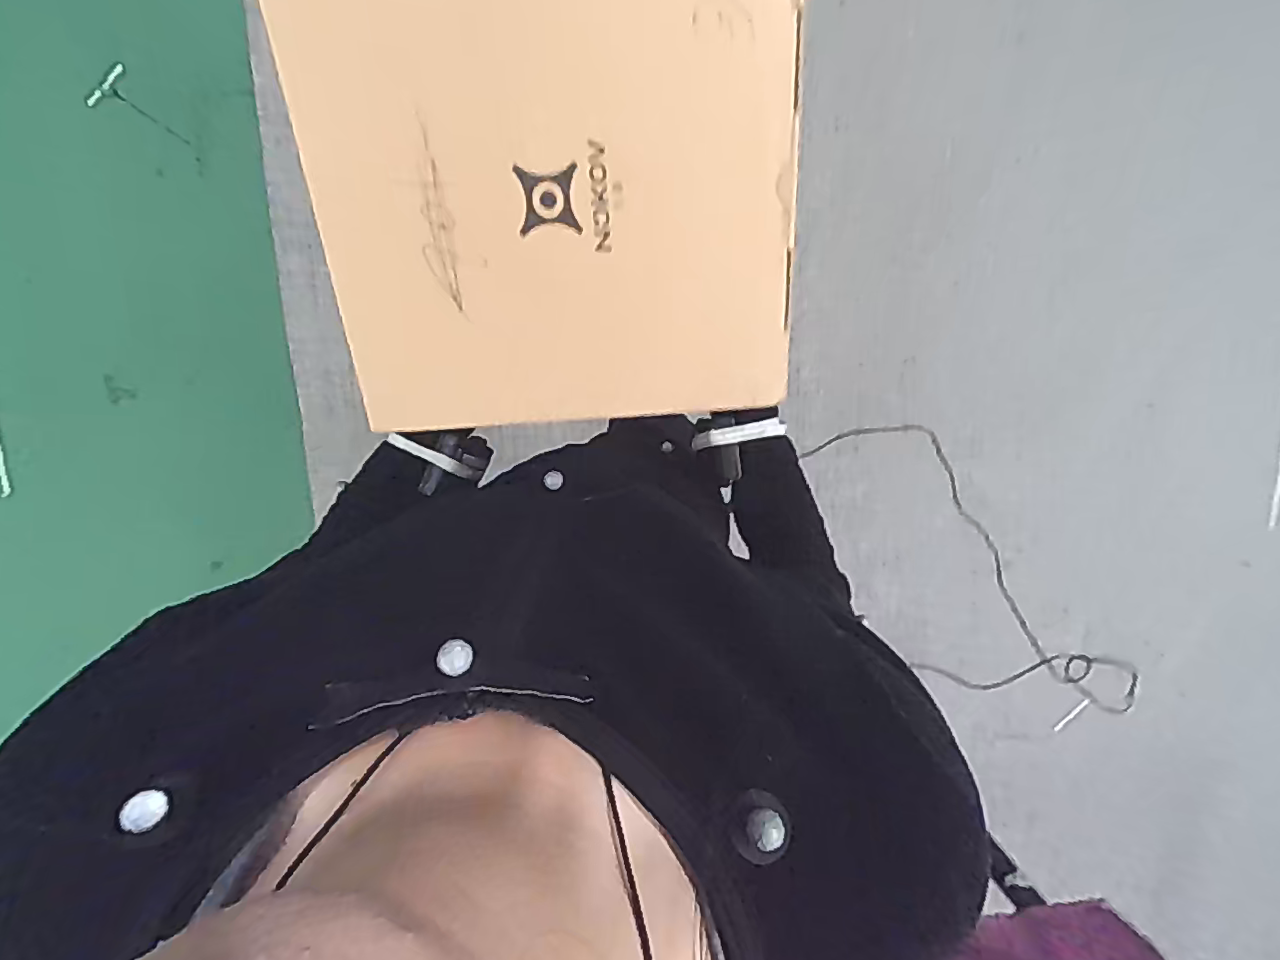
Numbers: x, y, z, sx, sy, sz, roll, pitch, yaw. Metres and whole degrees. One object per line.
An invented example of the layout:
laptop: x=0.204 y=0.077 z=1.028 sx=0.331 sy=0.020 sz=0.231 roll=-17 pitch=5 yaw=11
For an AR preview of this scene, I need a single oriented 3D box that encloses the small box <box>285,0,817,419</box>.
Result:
small box: x=-0.029 y=-0.136 z=0.272 sx=0.179 sy=0.176 sz=0.168 roll=-3 pitch=112 yaw=-1
